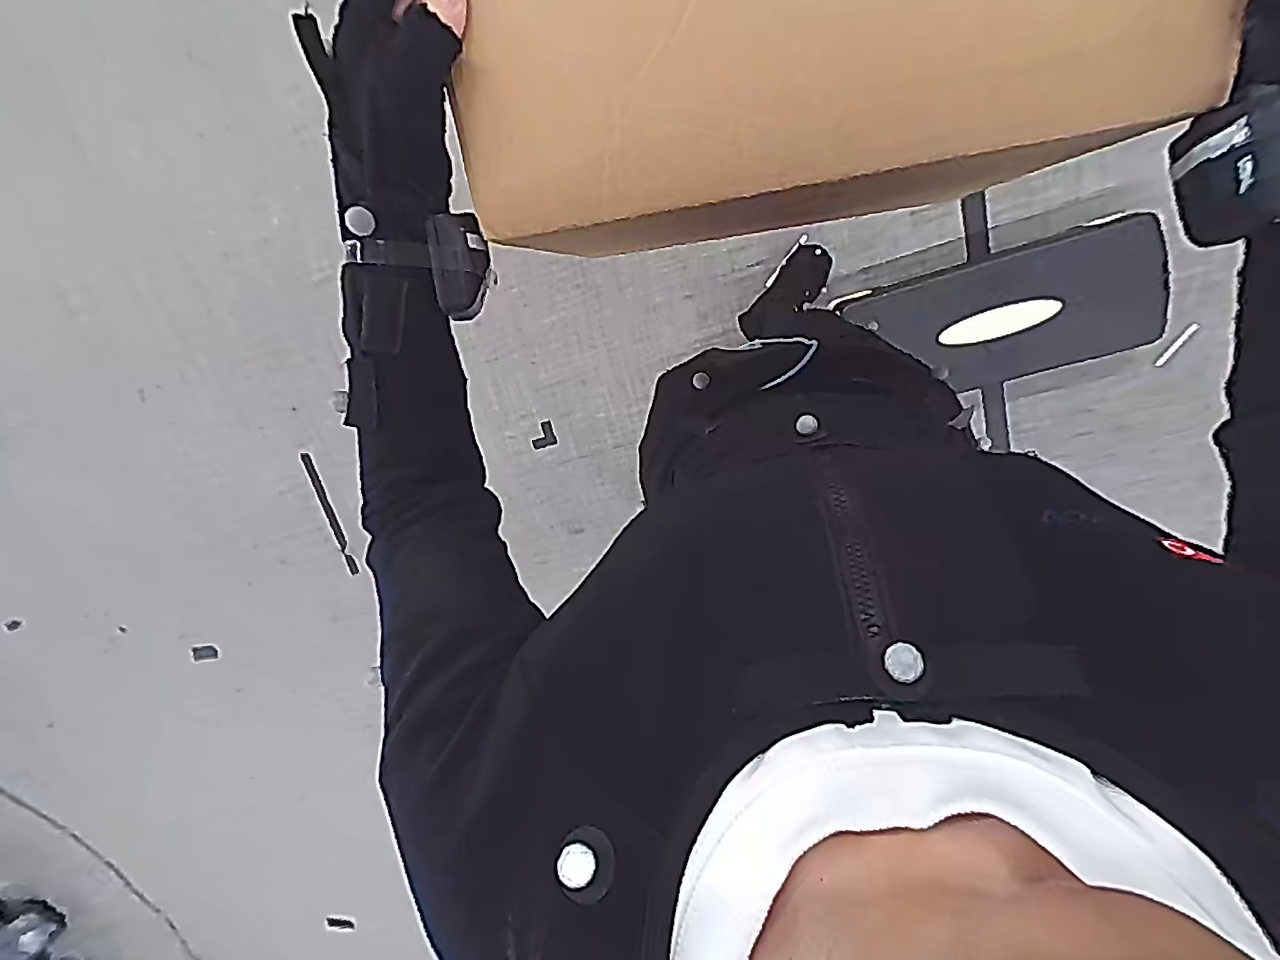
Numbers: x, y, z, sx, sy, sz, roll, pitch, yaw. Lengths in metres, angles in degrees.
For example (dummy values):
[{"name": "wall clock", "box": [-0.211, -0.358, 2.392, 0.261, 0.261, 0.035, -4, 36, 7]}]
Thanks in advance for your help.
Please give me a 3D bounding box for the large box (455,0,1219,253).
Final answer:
[{"name": "large box", "box": [0.098, -0.377, 0.410, 0.408, 0.320, 0.320, -6, 110, 9]}]
